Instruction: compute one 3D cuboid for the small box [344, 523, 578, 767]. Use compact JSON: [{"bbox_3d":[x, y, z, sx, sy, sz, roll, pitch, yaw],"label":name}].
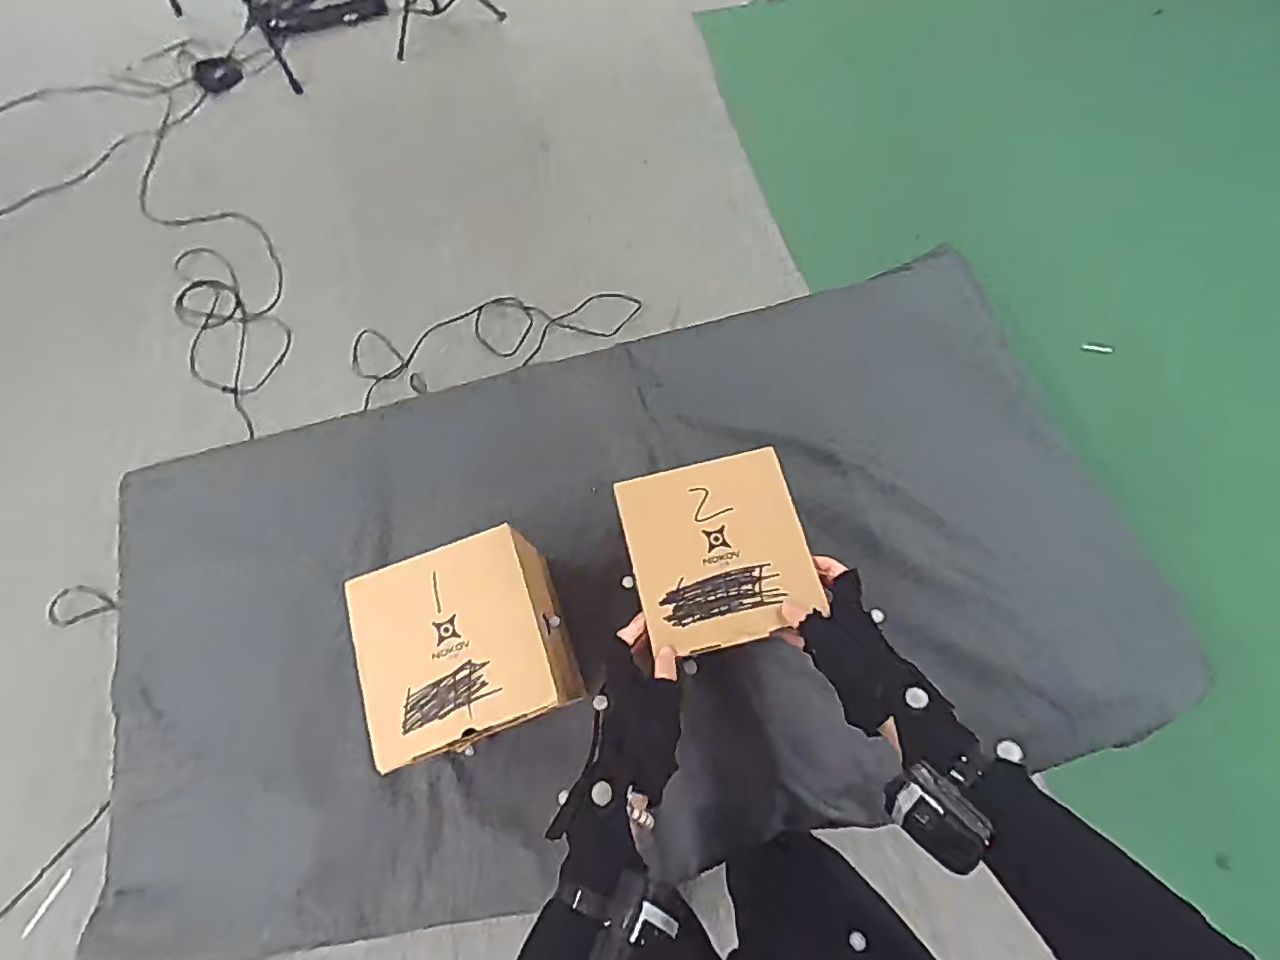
[{"bbox_3d":[-0.173,0.169,0.566,0.168,0.176,0.179,-19,70,-4],"label":"small box"}]
